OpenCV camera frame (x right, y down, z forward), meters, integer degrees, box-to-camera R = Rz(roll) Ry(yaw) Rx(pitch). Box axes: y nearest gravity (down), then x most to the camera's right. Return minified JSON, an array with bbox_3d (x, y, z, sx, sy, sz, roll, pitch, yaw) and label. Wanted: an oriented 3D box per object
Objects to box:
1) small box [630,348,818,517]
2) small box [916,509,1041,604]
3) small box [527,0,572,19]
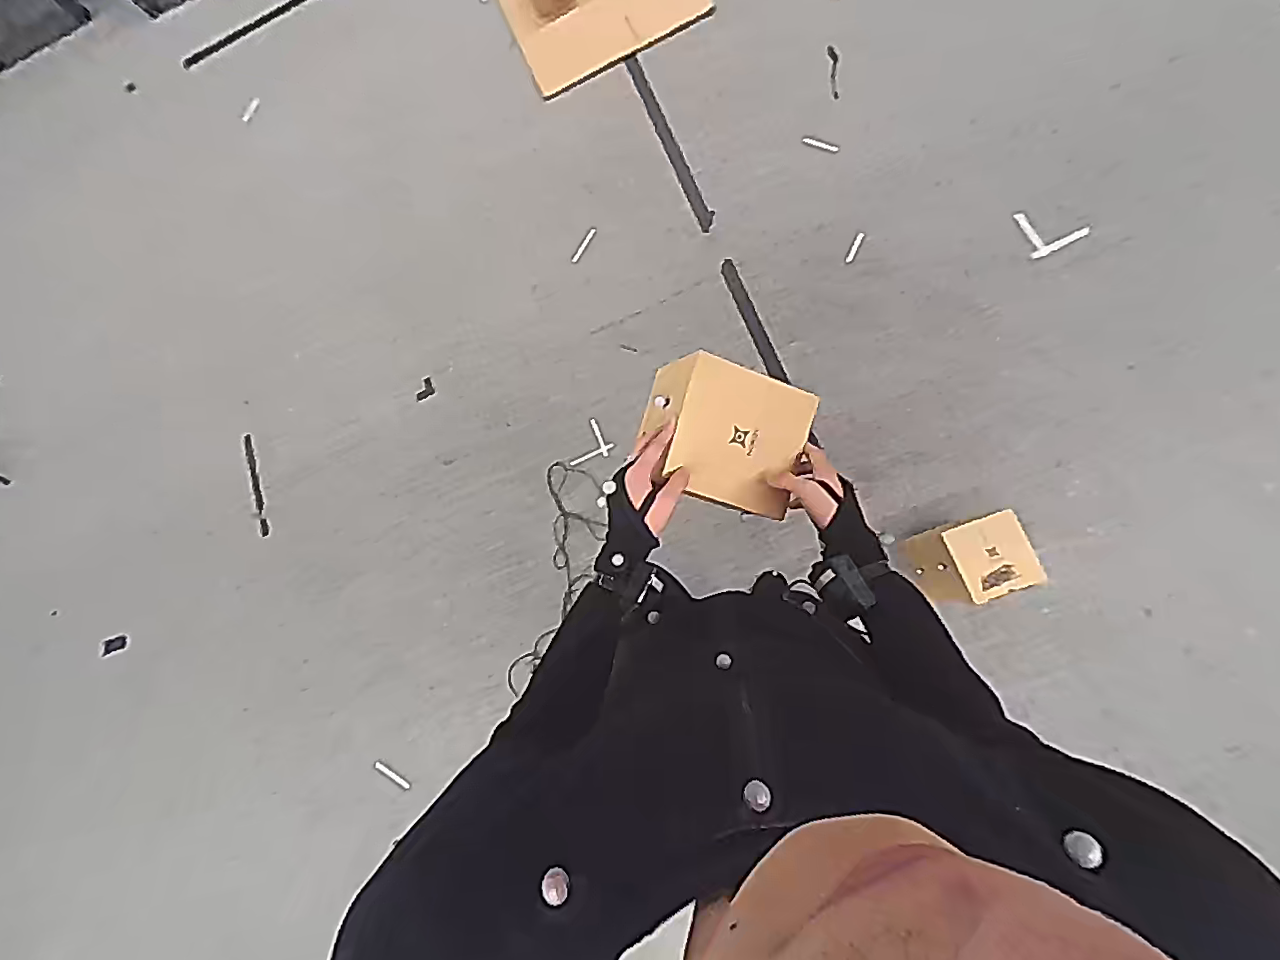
[{"bbox_3d":[0.101,-0.058,0.731,0.179,0.176,0.168,17,89,-16],"label":"small box"},{"bbox_3d":[0.800,0.184,1.296,0.168,0.176,0.179,-21,77,5],"label":"small box"},{"bbox_3d":[-0.372,-1.887,2.011,0.168,0.176,0.179,-25,77,6],"label":"small box"}]
